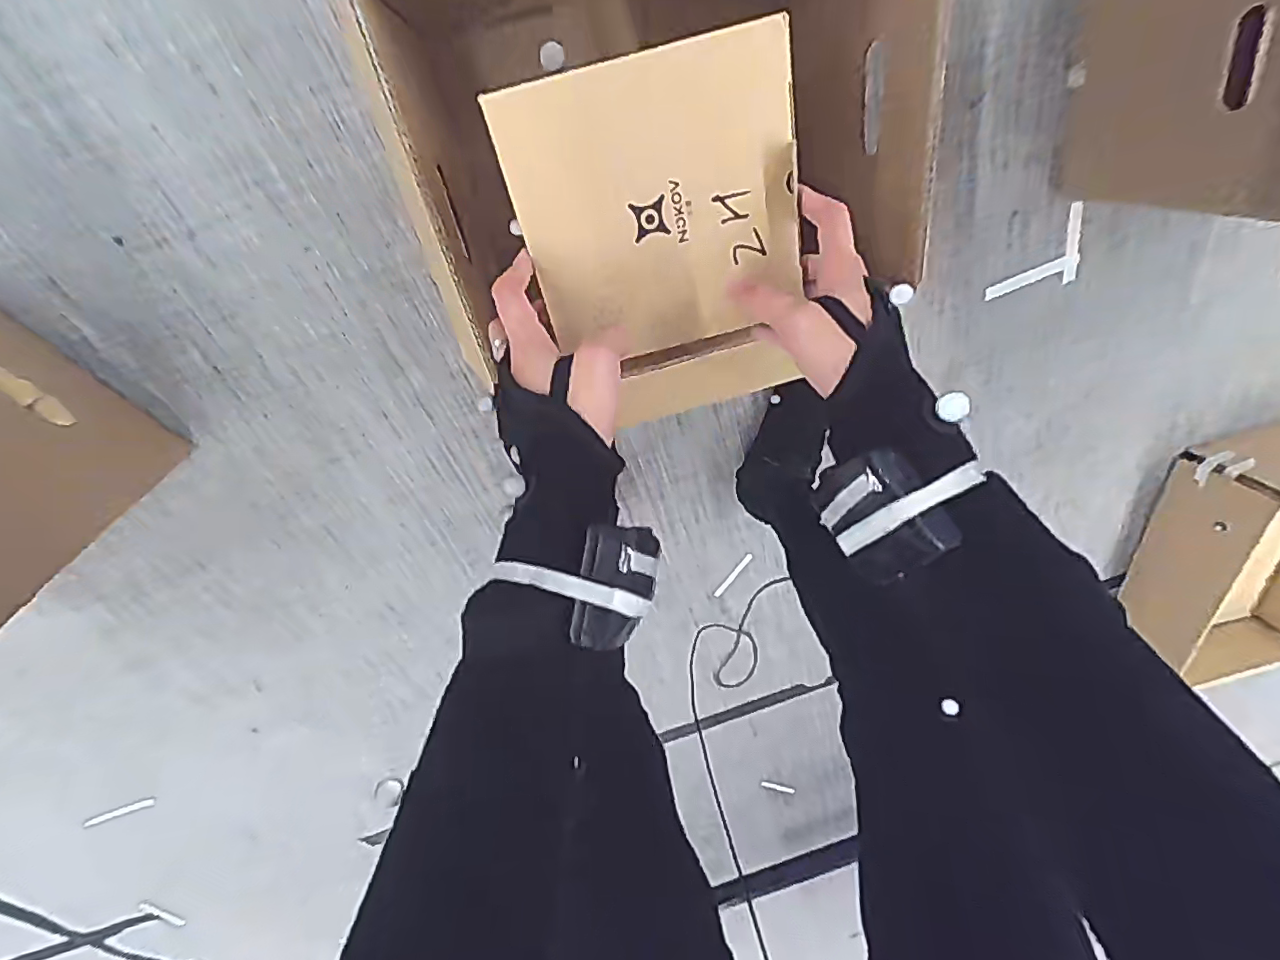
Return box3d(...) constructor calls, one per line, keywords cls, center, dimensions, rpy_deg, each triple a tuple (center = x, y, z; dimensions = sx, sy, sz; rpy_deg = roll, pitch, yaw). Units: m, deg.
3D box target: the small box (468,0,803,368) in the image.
box3d(cls="small box", center=(-0.001, -0.205, 0.392), dimensions=(0.179, 0.176, 0.168), rpy_deg=(-16, 124, 1))
